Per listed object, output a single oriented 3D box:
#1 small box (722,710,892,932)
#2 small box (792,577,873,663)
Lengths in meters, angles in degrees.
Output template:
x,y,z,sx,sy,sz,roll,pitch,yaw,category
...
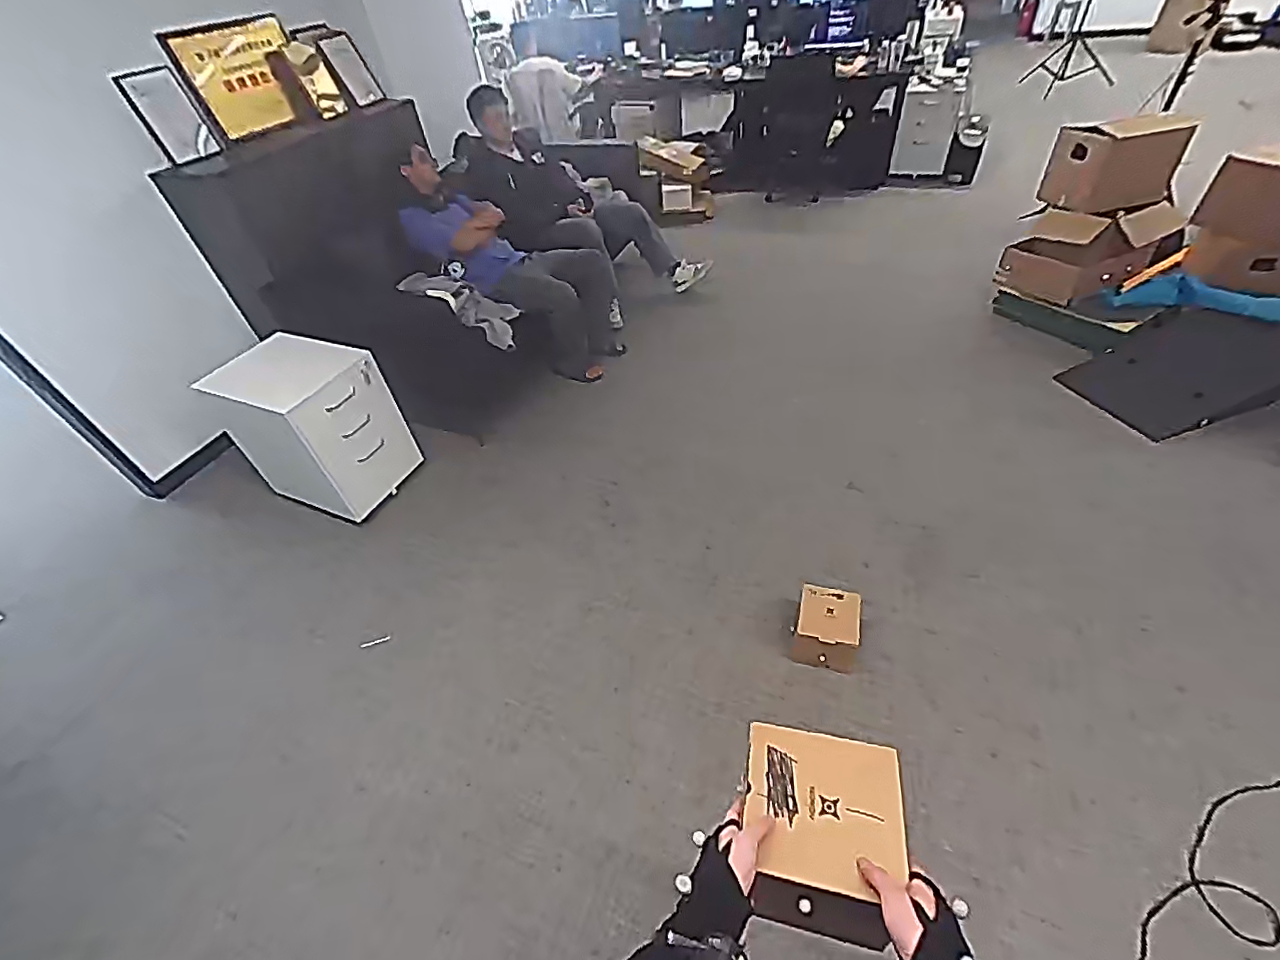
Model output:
x,y,z,sx,sy,sz,roll,pitch,yaw,category
0.207,0.422,0.674,0.179,0.176,0.168,7,42,19,small box
0.568,0.423,1.619,0.179,0.176,0.168,-13,43,-3,small box
